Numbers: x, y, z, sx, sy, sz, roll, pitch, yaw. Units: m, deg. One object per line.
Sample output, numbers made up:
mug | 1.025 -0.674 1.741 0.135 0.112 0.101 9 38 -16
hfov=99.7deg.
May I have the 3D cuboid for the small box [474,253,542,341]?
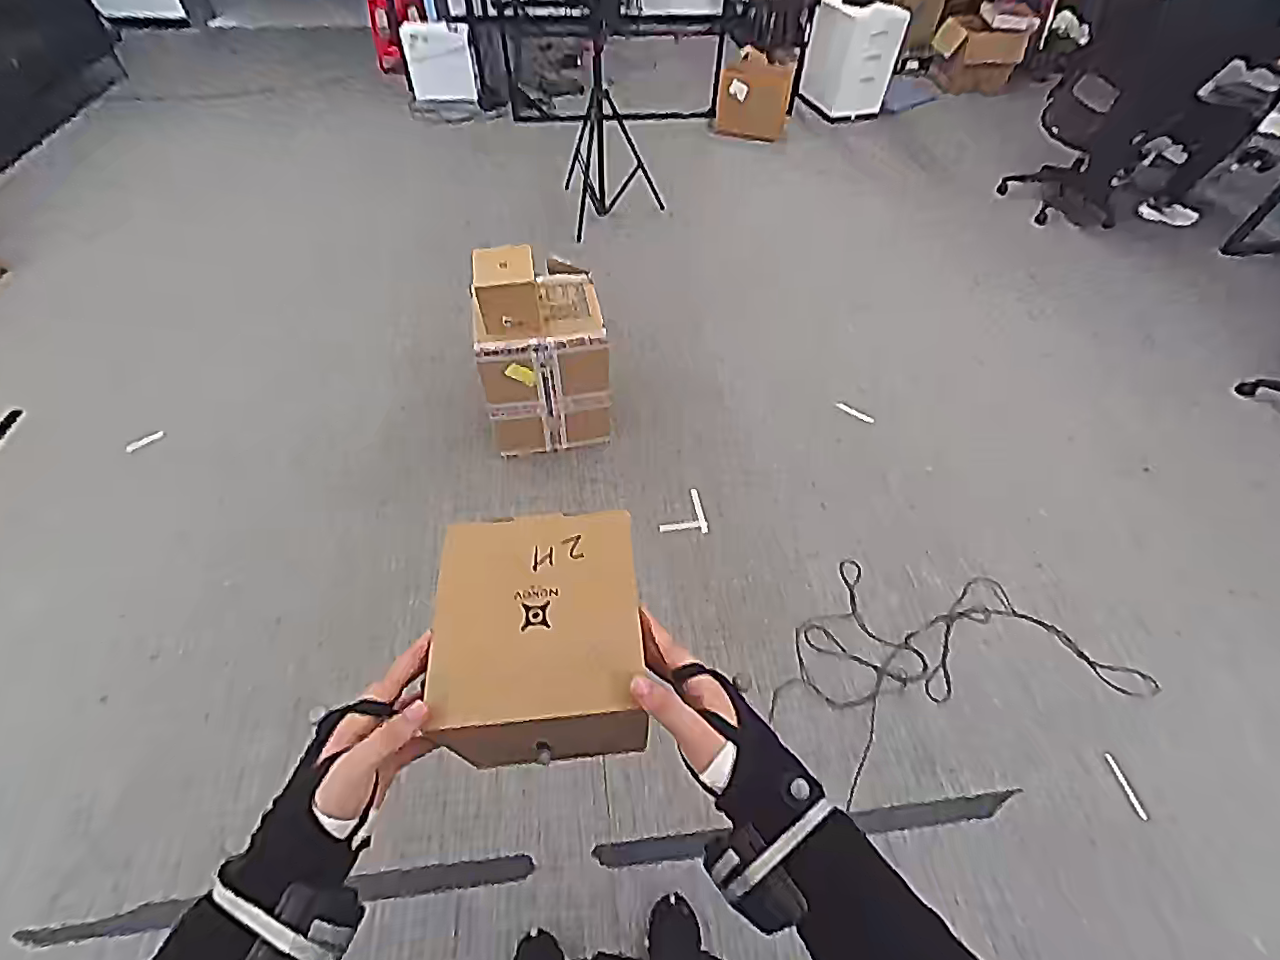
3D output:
small box | -0.383 -0.532 1.576 0.168 0.176 0.179 -9 57 -7
